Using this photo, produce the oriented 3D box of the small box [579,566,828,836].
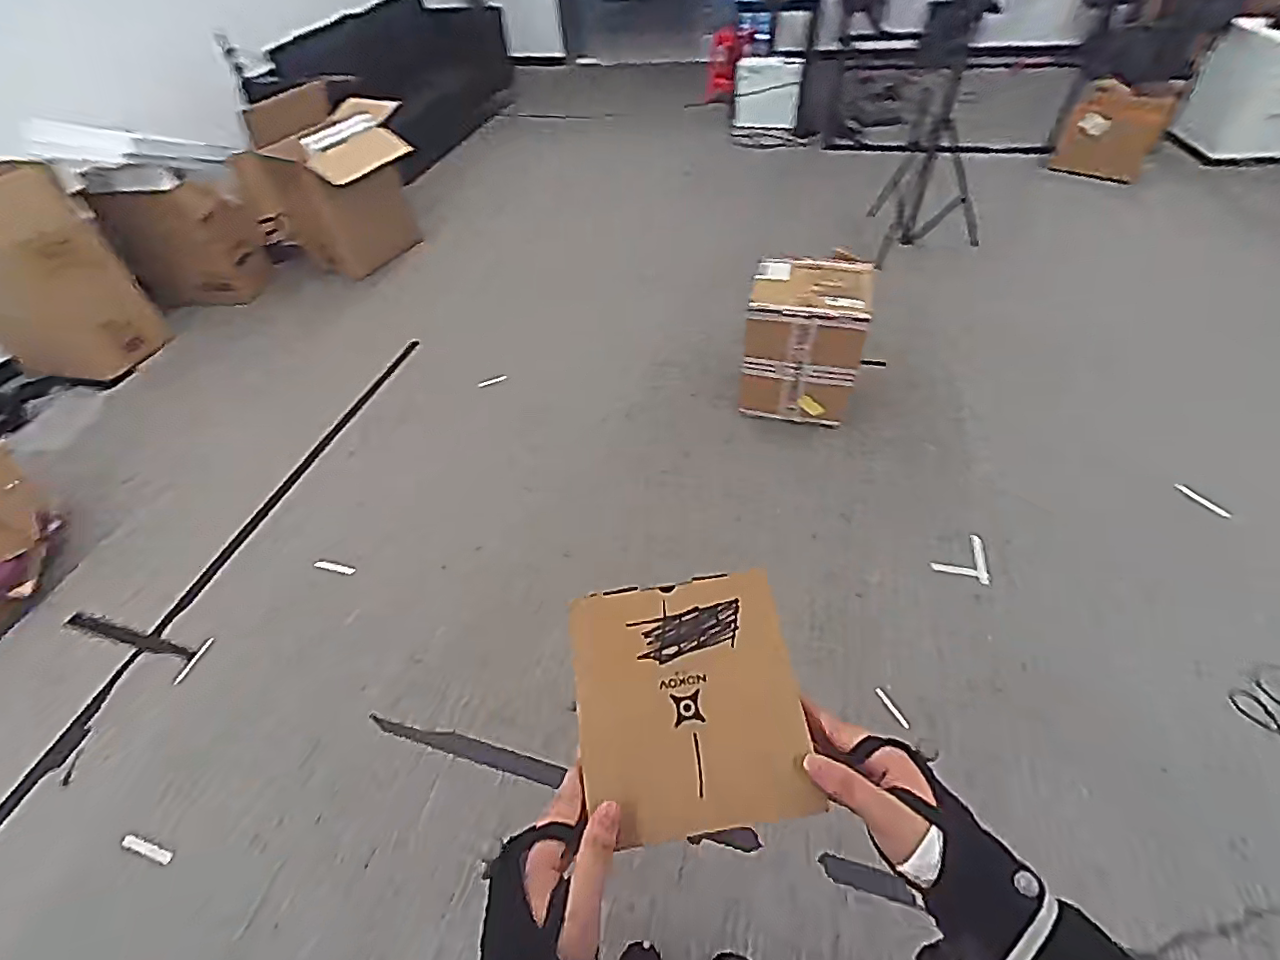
[{"bbox_3d":[0.040,0.194,0.477,0.168,0.176,0.179,-7,63,-2],"label":"small box"}]
